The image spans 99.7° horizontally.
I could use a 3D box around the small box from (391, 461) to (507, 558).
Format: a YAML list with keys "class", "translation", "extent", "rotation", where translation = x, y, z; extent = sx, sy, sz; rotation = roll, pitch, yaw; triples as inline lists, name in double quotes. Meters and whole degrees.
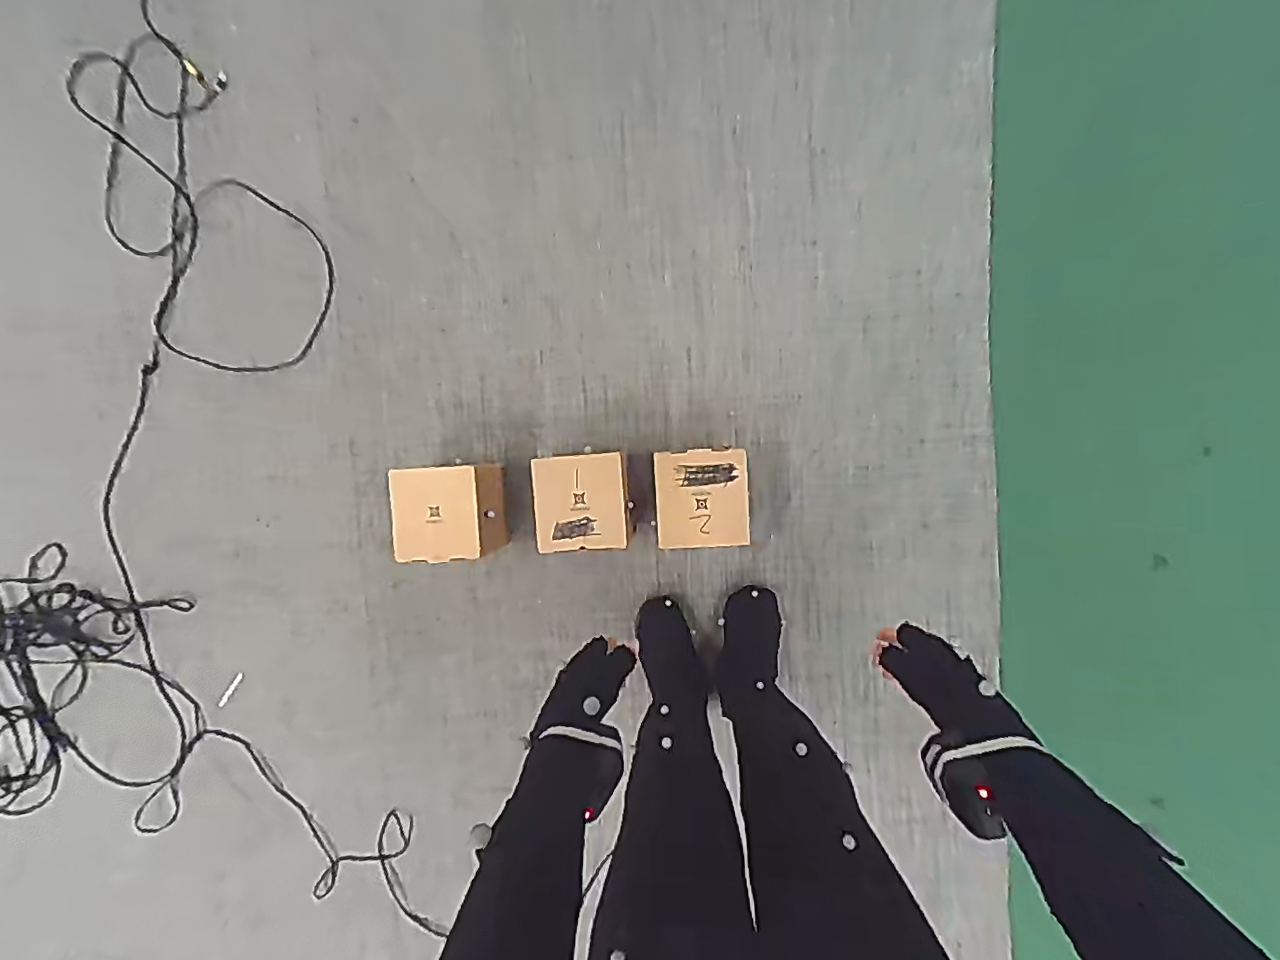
- class: "small box"
  translation: [-0.375, 0.053, 1.085]
  extent: [0.168, 0.176, 0.179]
  rotation: [-3, 93, 5]

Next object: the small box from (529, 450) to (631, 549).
- class: "small box"
  translation: [-0.110, 0.032, 1.063]
  extent: [0.168, 0.176, 0.179]
  rotation: [-4, 92, 5]
